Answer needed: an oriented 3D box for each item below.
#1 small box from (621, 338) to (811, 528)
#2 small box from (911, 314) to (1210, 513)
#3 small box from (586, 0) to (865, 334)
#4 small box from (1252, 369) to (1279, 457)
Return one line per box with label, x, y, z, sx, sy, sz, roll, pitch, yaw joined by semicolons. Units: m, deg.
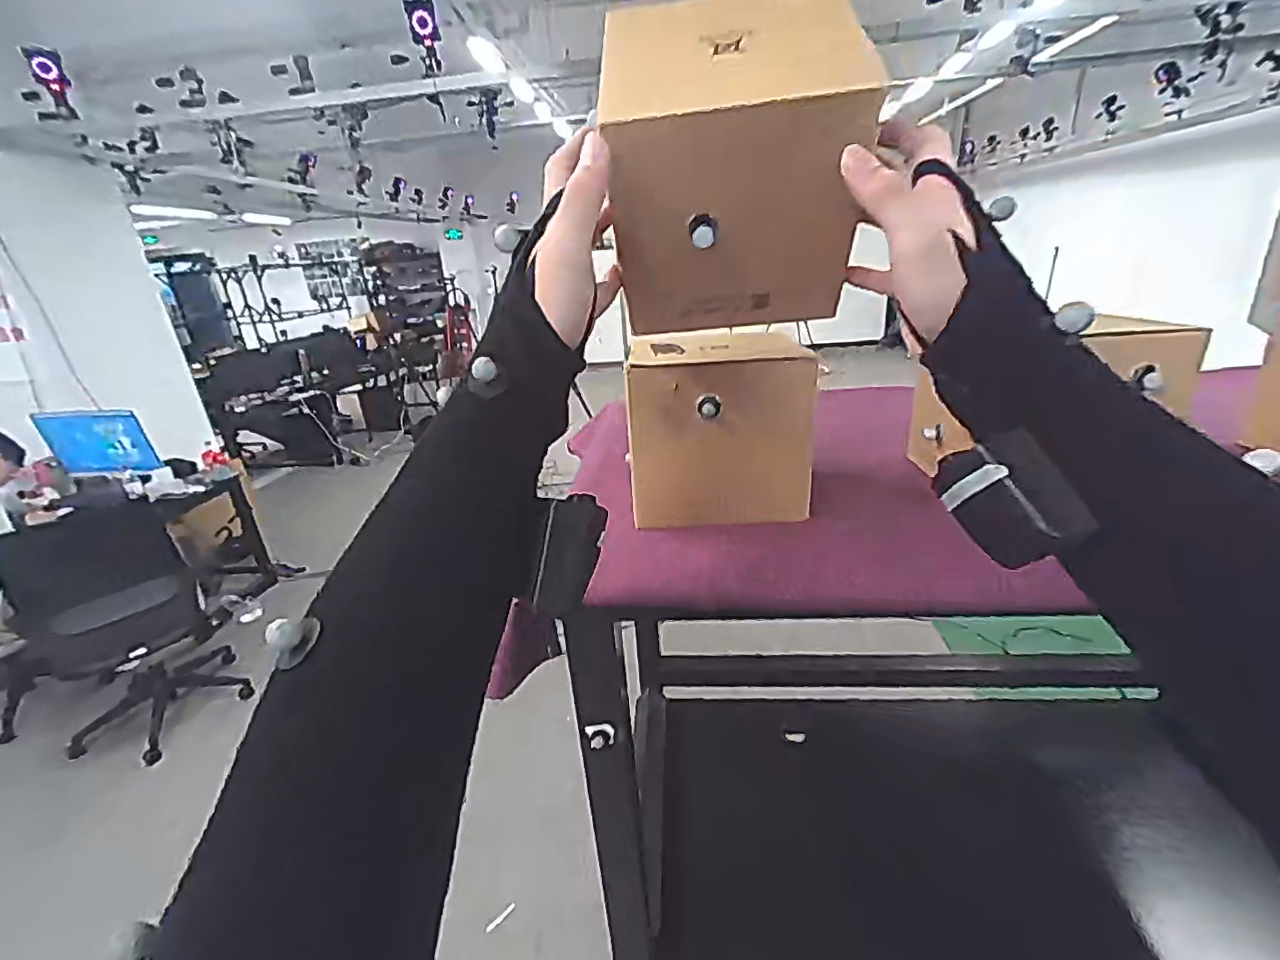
small box;0.078;-0.055;0.588;0.179;0.176;0.168;-3;22;3
small box;0.407;-0.073;0.564;0.179;0.176;0.168;-2;21;7
small box;0.061;-0.231;0.424;0.168;0.176;0.179;-4;56;7
small box;0.779;-0.089;0.523;0.179;0.176;0.168;-2;20;6
